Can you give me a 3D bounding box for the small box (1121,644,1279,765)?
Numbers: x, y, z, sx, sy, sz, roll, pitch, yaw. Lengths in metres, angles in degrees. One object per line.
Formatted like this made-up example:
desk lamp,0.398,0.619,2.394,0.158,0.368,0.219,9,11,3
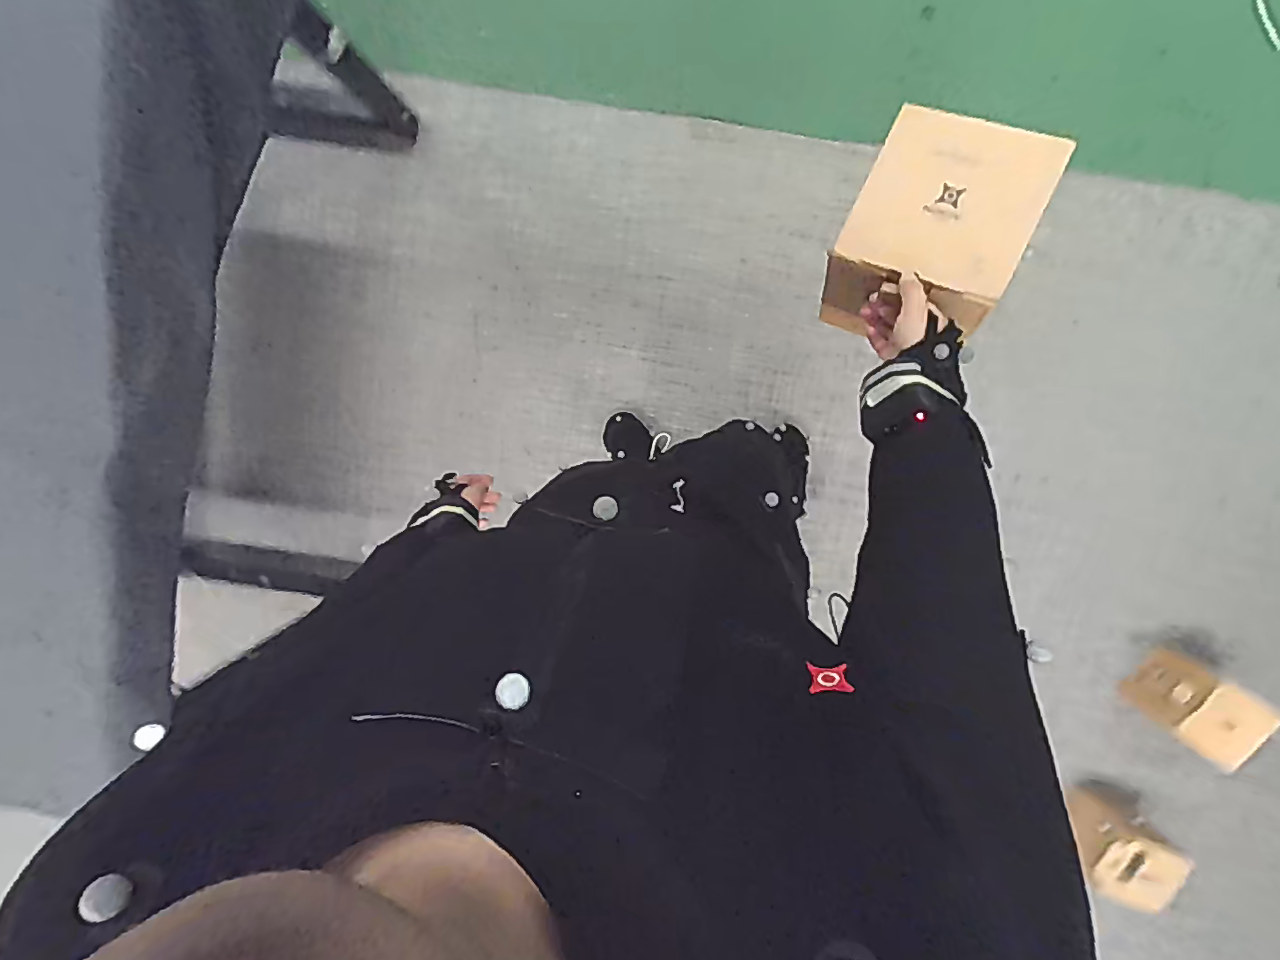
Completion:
small box,1.331,0.524,1.289,0.179,0.176,0.168,34,100,-3
